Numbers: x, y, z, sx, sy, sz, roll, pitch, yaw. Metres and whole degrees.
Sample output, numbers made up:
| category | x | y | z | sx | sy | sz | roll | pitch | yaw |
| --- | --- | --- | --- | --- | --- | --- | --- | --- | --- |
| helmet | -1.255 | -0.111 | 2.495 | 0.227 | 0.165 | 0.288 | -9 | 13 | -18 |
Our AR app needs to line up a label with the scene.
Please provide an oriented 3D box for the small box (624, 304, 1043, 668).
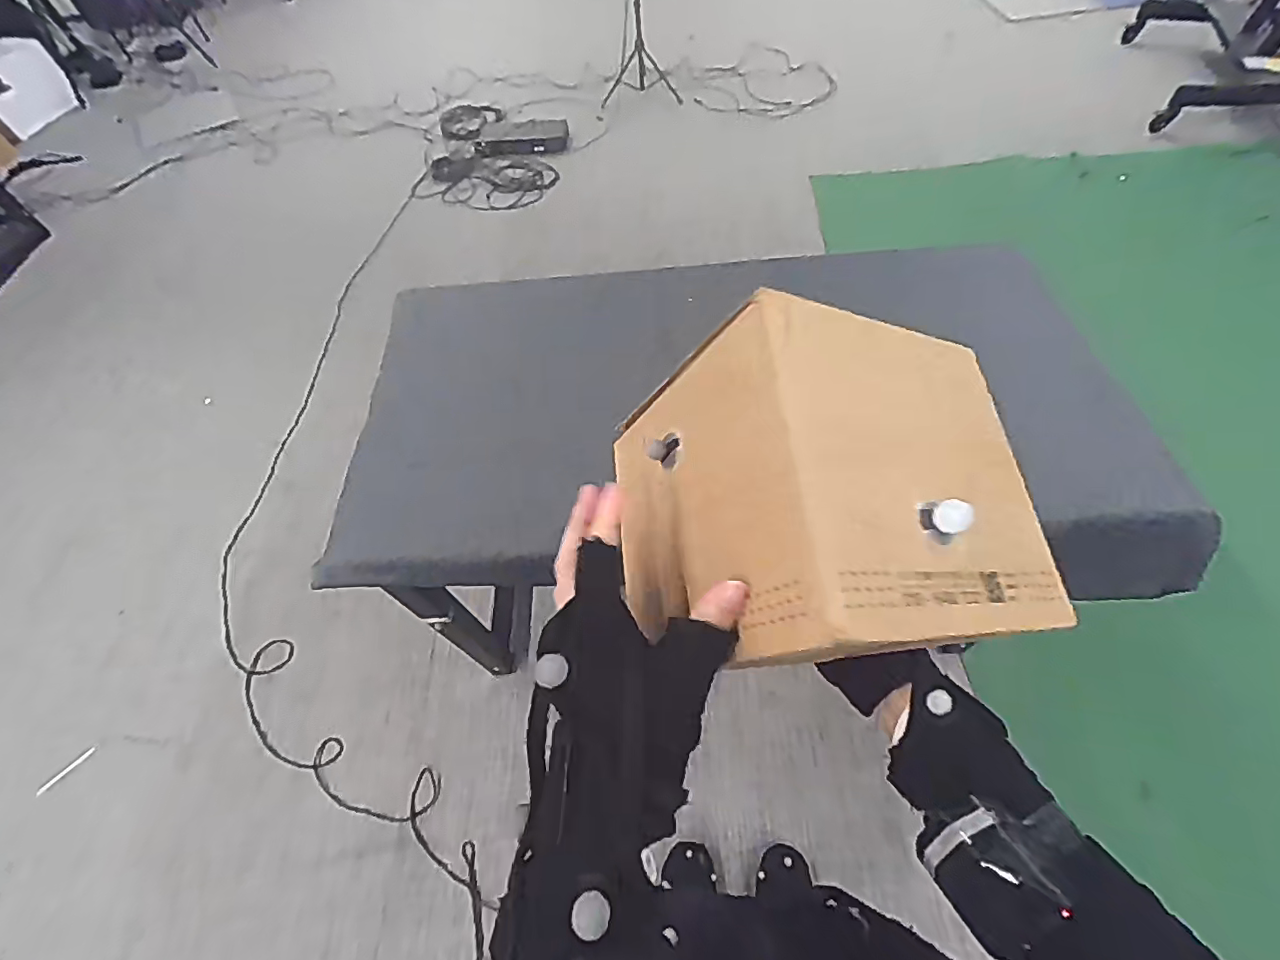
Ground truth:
| category | x | y | z | sx | sy | sz | roll | pitch | yaw |
| --- | --- | --- | --- | --- | --- | --- | --- | --- | --- |
| small box | 0.102 | 0.024 | 0.348 | 0.168 | 0.179 | 0.176 | 5 | 67 | -27 |
